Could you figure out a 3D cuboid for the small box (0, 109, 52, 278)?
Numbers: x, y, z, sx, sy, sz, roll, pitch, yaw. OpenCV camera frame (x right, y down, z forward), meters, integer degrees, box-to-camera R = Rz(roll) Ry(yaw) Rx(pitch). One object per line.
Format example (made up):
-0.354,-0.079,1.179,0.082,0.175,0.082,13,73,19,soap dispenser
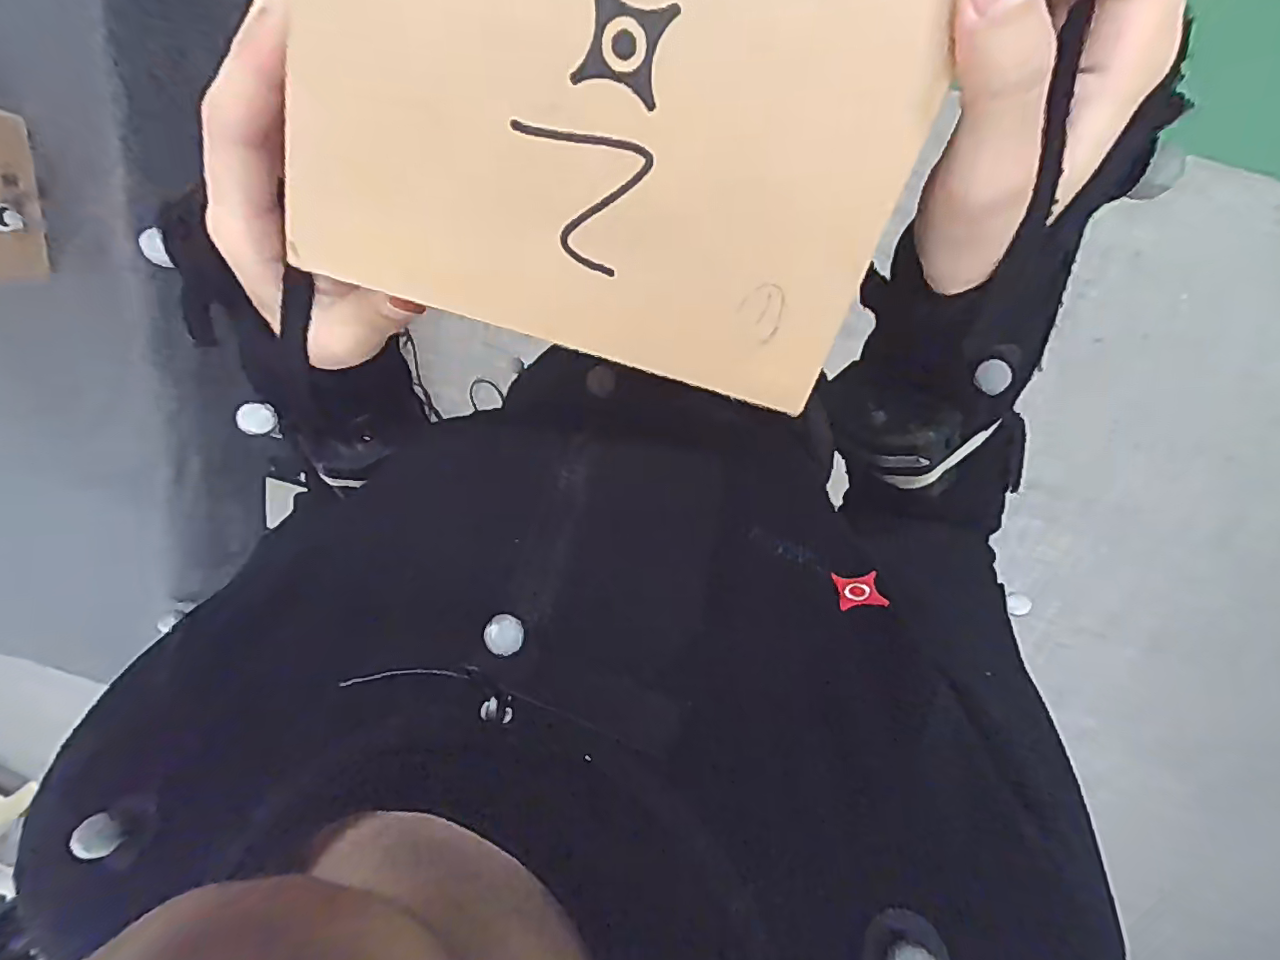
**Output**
-0.733,-0.289,0.506,0.179,0.176,0.168,17,116,-1,small box
